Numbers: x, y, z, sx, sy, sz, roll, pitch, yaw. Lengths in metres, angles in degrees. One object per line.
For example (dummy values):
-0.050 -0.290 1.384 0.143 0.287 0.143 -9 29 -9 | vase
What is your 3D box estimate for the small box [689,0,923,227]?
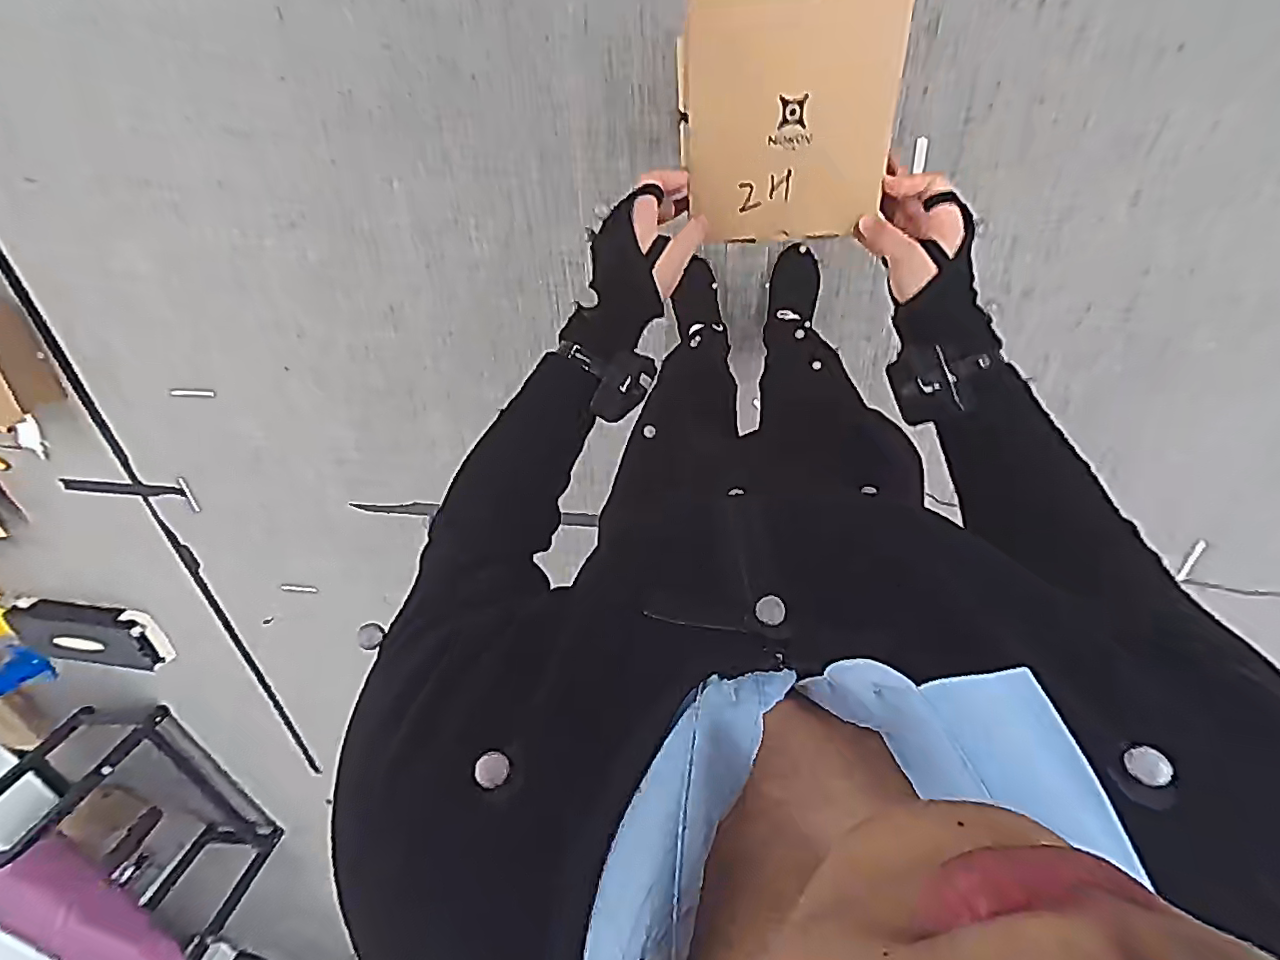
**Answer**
0.132 -0.345 0.500 0.168 0.176 0.179 -2 124 4 | small box
